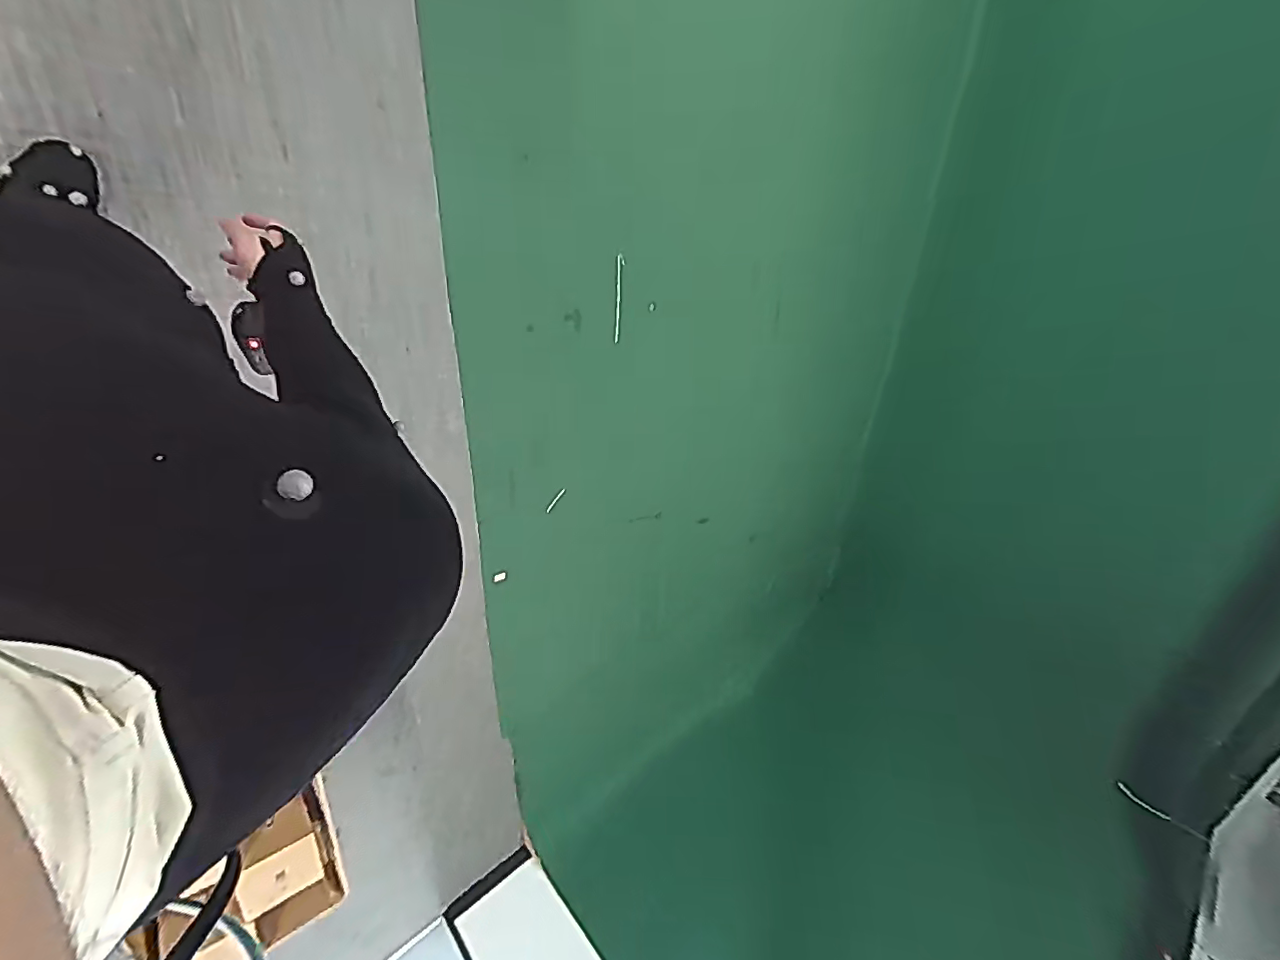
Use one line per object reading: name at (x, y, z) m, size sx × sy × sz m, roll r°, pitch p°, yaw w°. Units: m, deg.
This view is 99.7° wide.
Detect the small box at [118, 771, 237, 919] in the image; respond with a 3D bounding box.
small box at (-0.989, 0.763, 1.158) m, size 0.168 × 0.176 × 0.179 m, roll -12°, pitch 120°, yaw -41°

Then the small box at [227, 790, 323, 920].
small box at (-0.901, 0.902, 1.325) m, size 0.168 × 0.176 × 0.179 m, roll -15°, pitch 121°, yaw -39°
